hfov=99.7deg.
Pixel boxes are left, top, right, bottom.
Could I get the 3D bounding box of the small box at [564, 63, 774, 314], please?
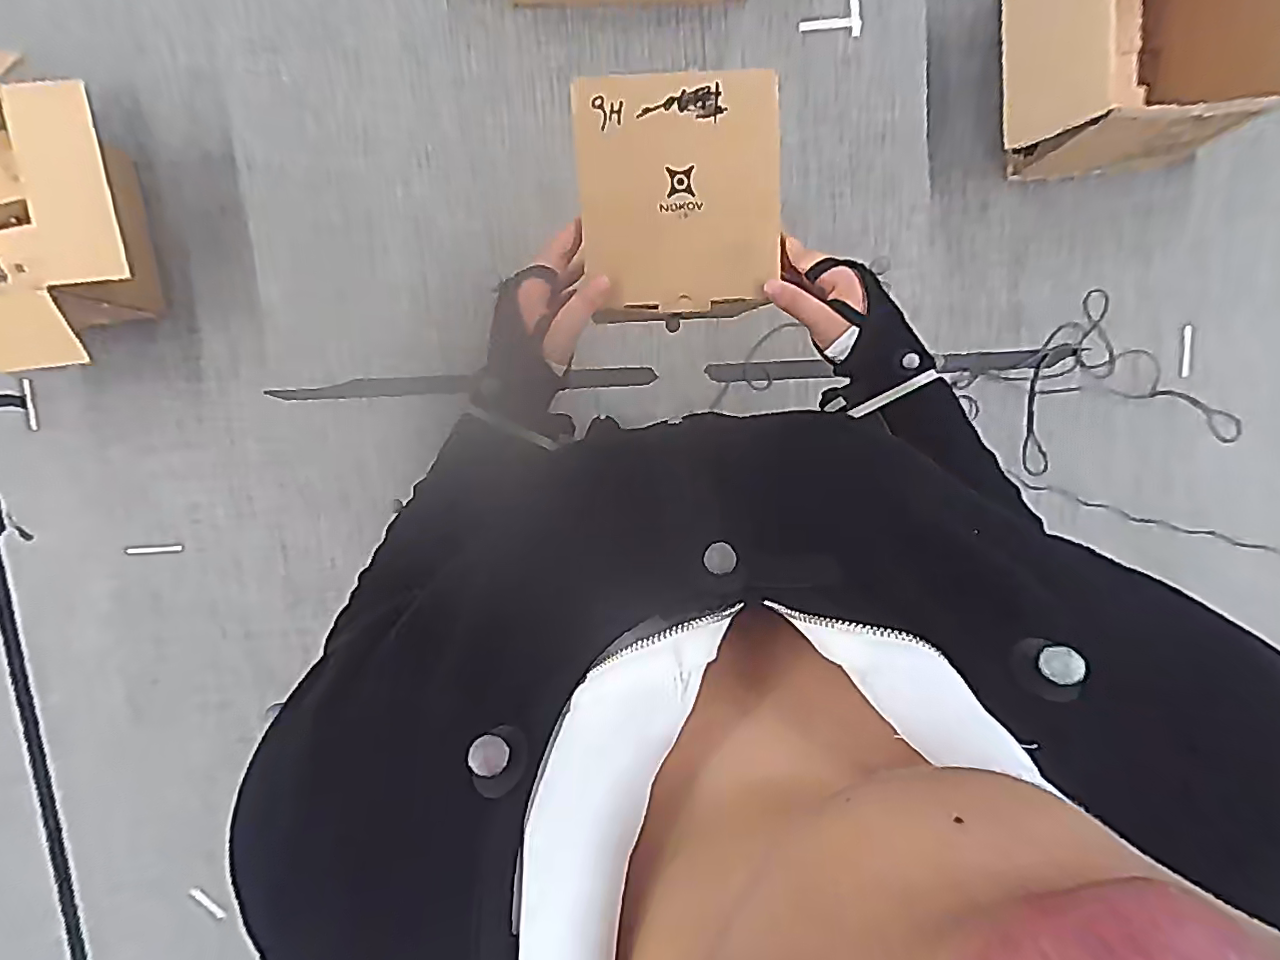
[{"bbox_3d":[0.023,-0.253,0.514,0.168,0.176,0.179,-4,103,-2],"label":"small box"}]
